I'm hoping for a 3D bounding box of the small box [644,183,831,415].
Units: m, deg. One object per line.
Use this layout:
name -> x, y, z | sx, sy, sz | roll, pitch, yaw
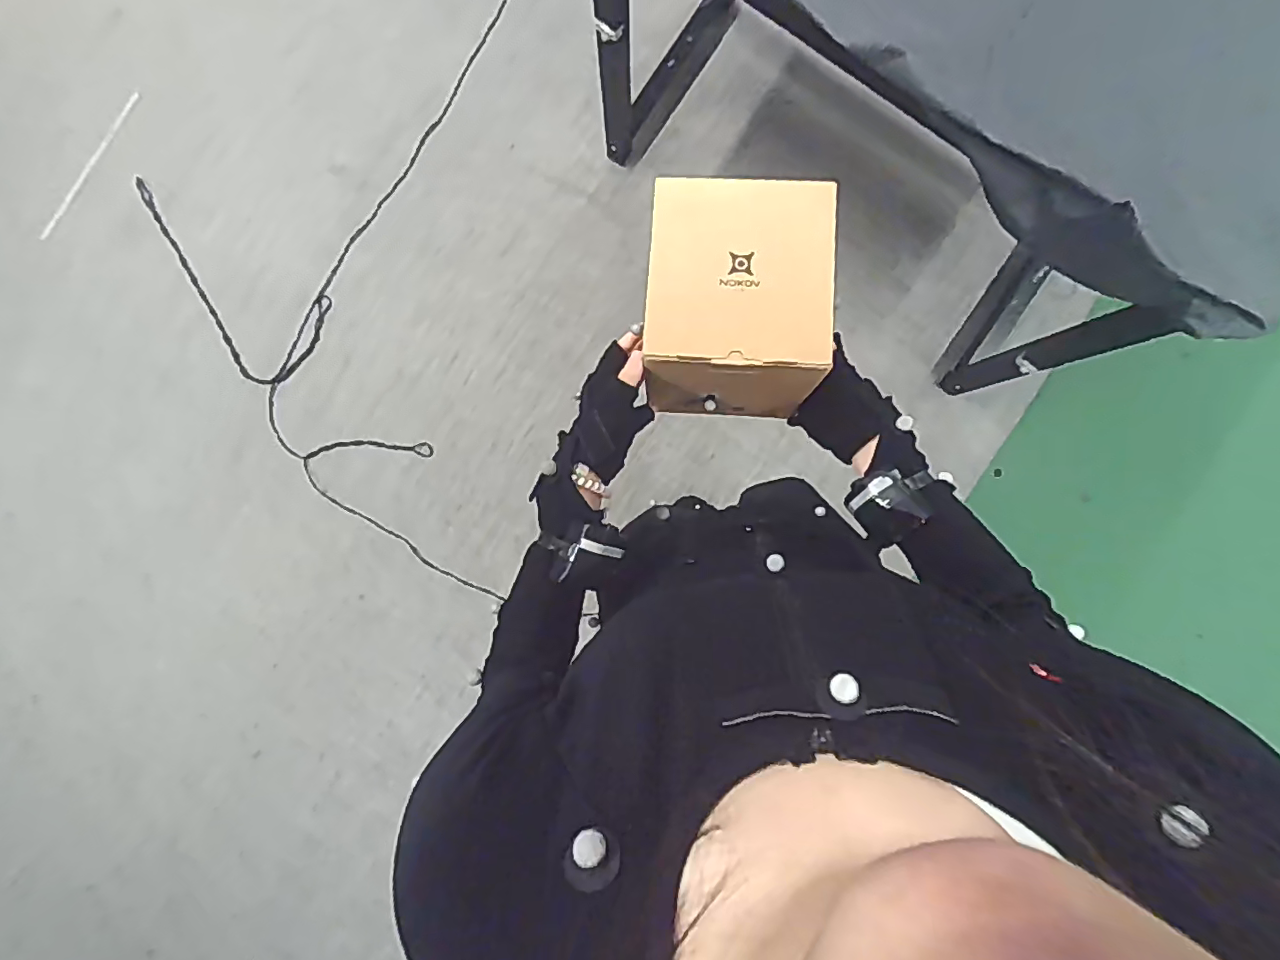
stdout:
small box -> 0.093, -0.178, 0.573 | 0.168, 0.176, 0.179 | 4, 83, 3
